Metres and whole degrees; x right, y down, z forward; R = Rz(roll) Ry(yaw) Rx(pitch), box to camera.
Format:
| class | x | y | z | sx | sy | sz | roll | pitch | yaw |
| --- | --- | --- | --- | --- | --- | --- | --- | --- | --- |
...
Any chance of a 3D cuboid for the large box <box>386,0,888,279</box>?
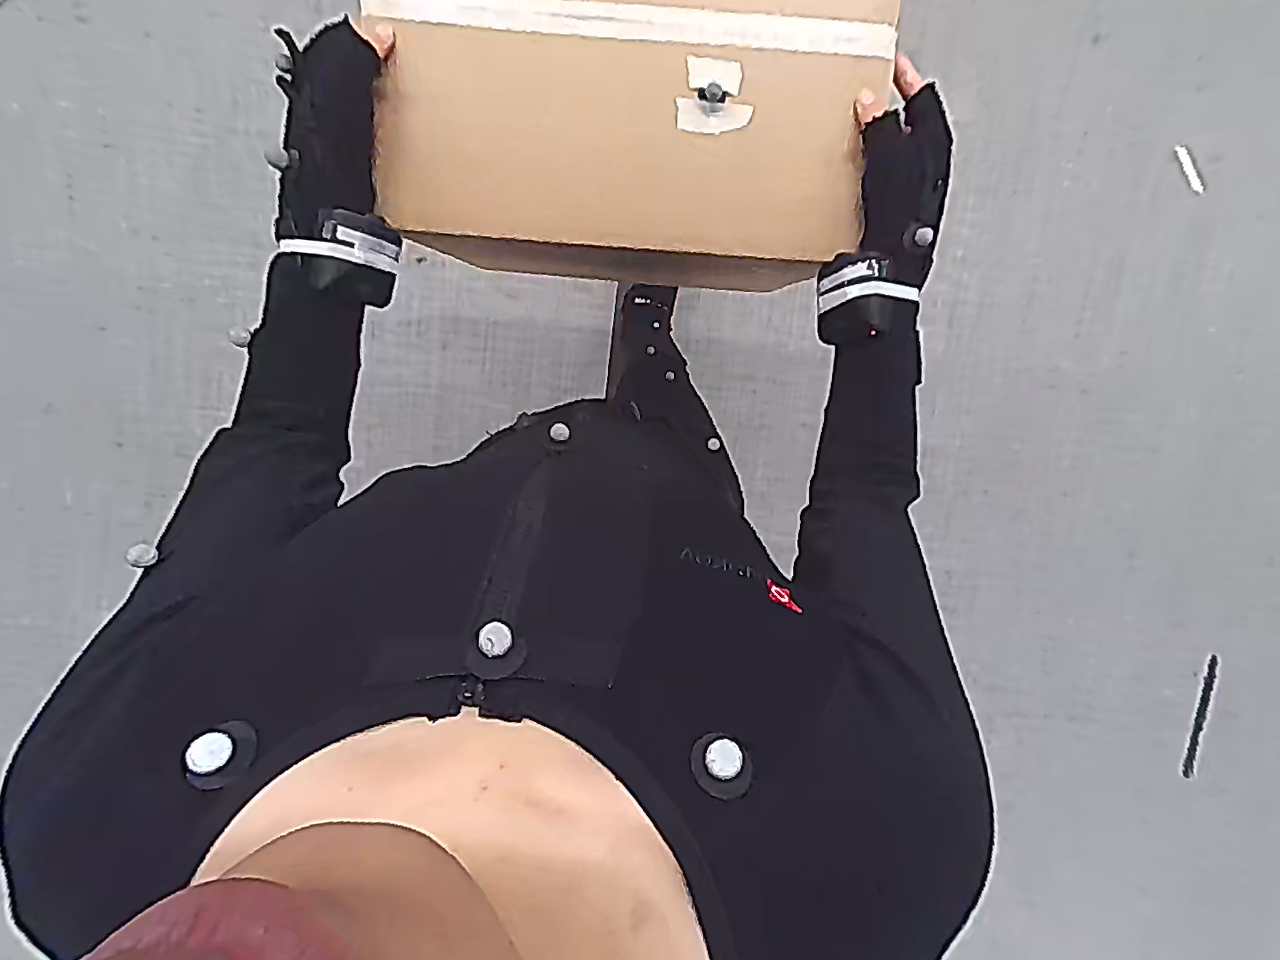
| class | x | y | z | sx | sy | sz | roll | pitch | yaw |
| --- | --- | --- | --- | --- | --- | --- | --- | --- | --- |
| large box | -0.007 | -0.399 | 0.575 | 0.408 | 0.320 | 0.320 | 3 | 106 | -2 |
